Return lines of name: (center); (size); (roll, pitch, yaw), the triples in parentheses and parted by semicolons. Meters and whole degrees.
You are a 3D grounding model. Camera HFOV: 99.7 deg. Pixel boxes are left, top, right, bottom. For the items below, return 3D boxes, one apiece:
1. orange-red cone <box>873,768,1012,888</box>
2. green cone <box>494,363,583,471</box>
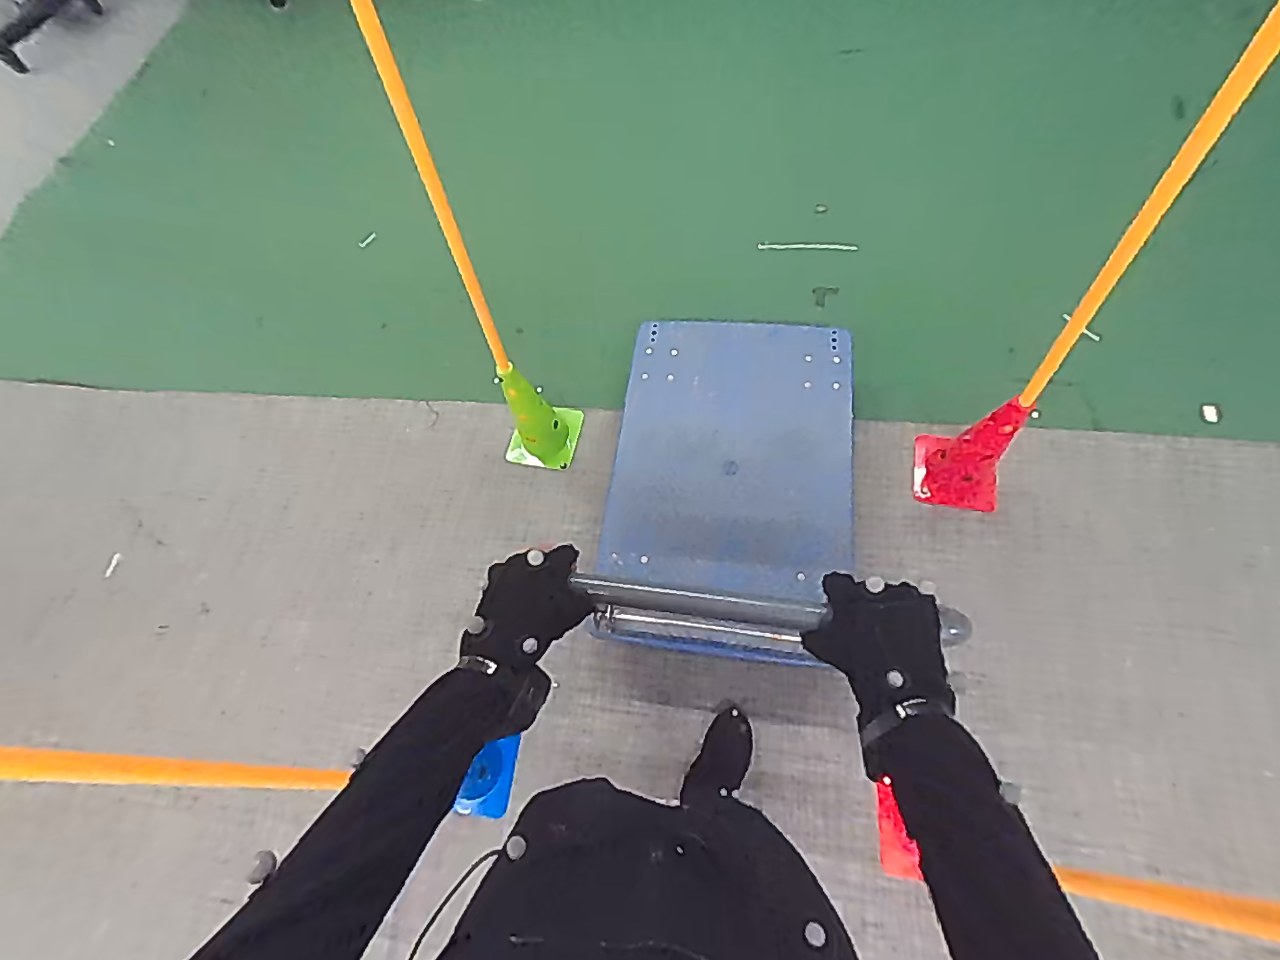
orange-red cone: (0.573, 0.659, 0.986); (0.199, 0.360, 0.198); (3, 66, 11)
green cone: (-0.307, -0.197, 1.470); (0.202, 0.368, 0.200); (8, 67, 12)
